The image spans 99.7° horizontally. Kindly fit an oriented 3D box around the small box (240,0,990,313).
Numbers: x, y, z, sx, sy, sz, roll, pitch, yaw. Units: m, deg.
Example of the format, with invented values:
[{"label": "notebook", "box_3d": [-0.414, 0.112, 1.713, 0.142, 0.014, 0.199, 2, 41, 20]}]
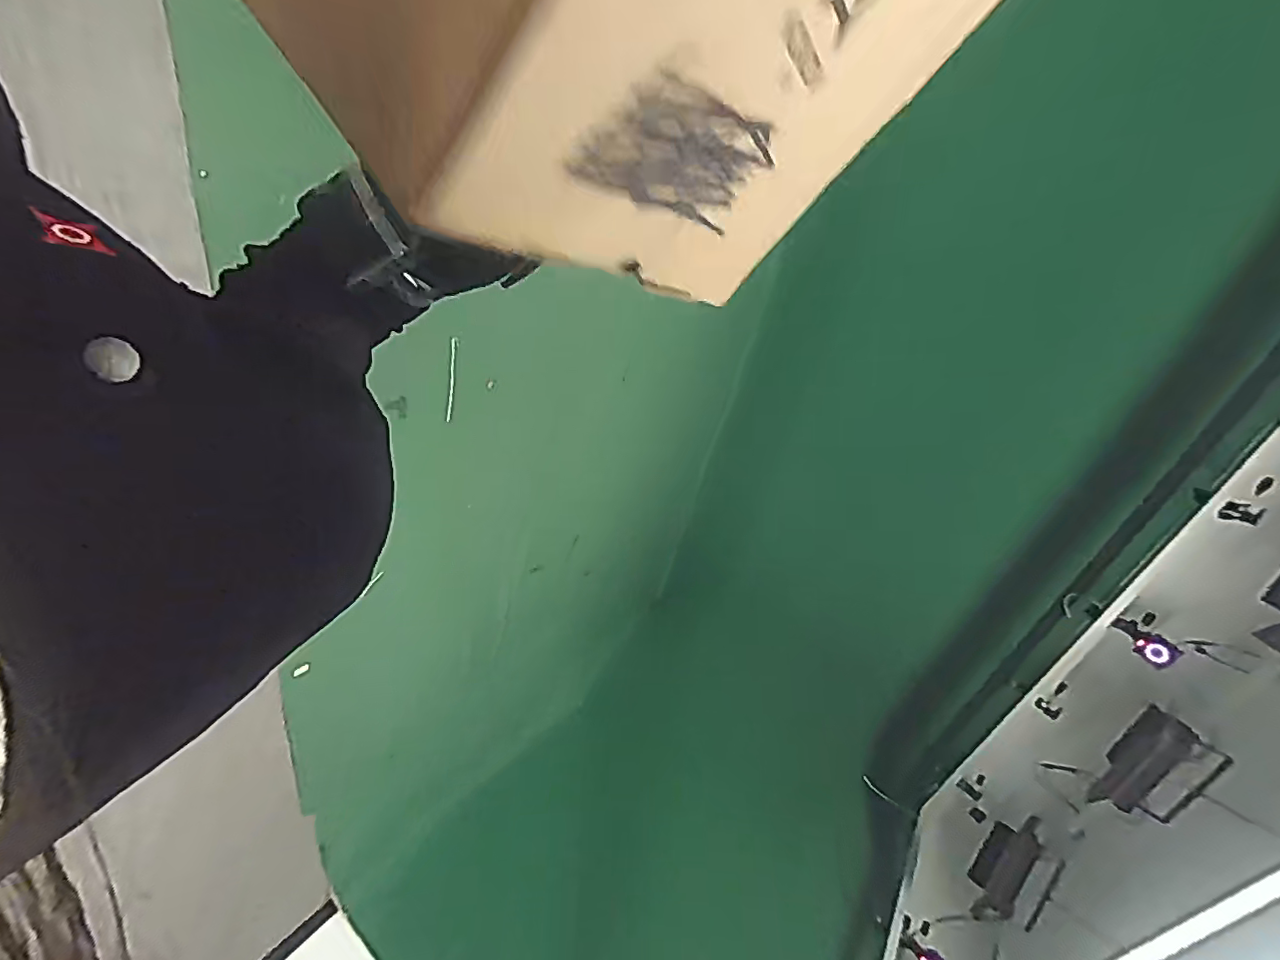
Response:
[{"label": "small box", "box_3d": [-0.008, -0.178, 0.159, 0.179, 0.176, 0.168, -43, 171, 28]}]
